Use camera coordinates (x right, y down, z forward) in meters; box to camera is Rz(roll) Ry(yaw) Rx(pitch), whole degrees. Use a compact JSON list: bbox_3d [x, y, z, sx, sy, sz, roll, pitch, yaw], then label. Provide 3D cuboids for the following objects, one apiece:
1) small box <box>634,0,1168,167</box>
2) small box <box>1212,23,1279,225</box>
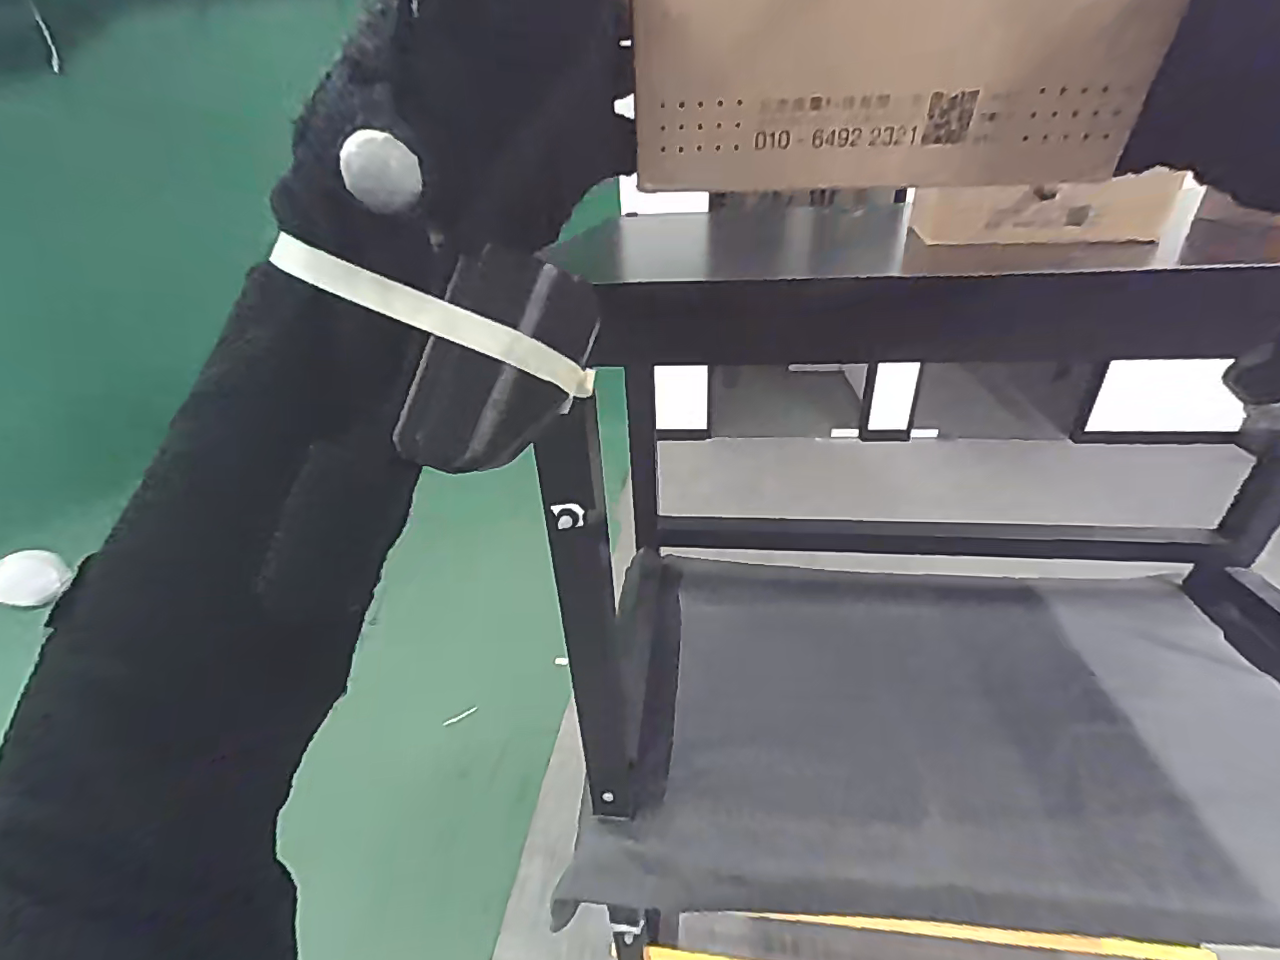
[{"bbox_3d":[0.084,-0.224,0.202,0.168,0.176,0.179,1,39,4],"label":"small box"},{"bbox_3d":[0.614,-0.287,0.402,0.168,0.176,0.179,-2,29,4],"label":"small box"}]
